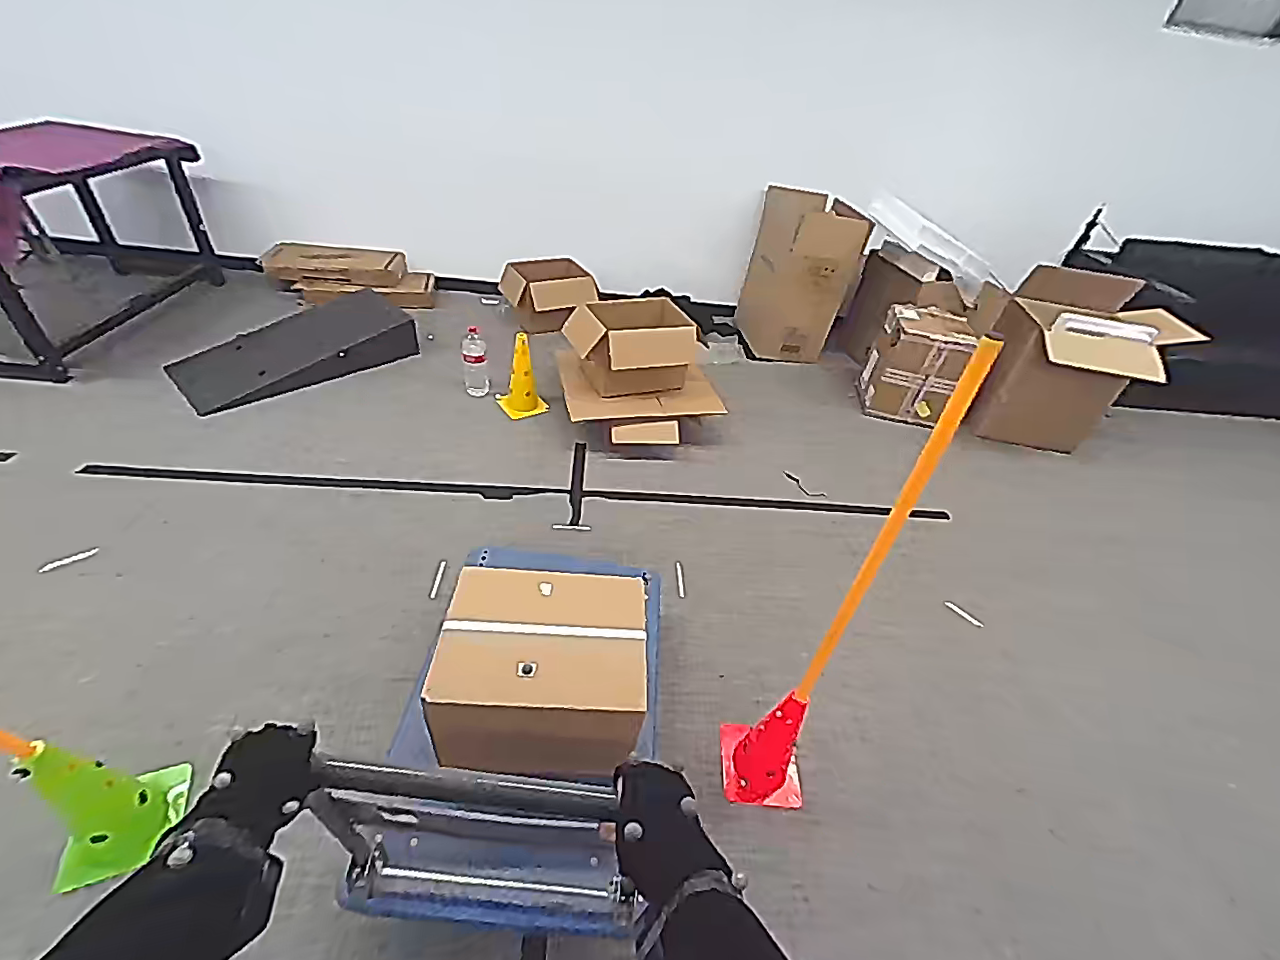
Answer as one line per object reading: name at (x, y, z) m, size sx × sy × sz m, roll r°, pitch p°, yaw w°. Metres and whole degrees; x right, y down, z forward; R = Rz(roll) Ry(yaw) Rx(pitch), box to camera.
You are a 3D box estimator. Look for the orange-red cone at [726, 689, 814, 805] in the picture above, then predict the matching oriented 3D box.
orange-red cone at (0.347, 0.609, 1.309) m, size 0.199 × 0.360 × 0.198 m, roll 8°, pitch 40°, yaw -2°
